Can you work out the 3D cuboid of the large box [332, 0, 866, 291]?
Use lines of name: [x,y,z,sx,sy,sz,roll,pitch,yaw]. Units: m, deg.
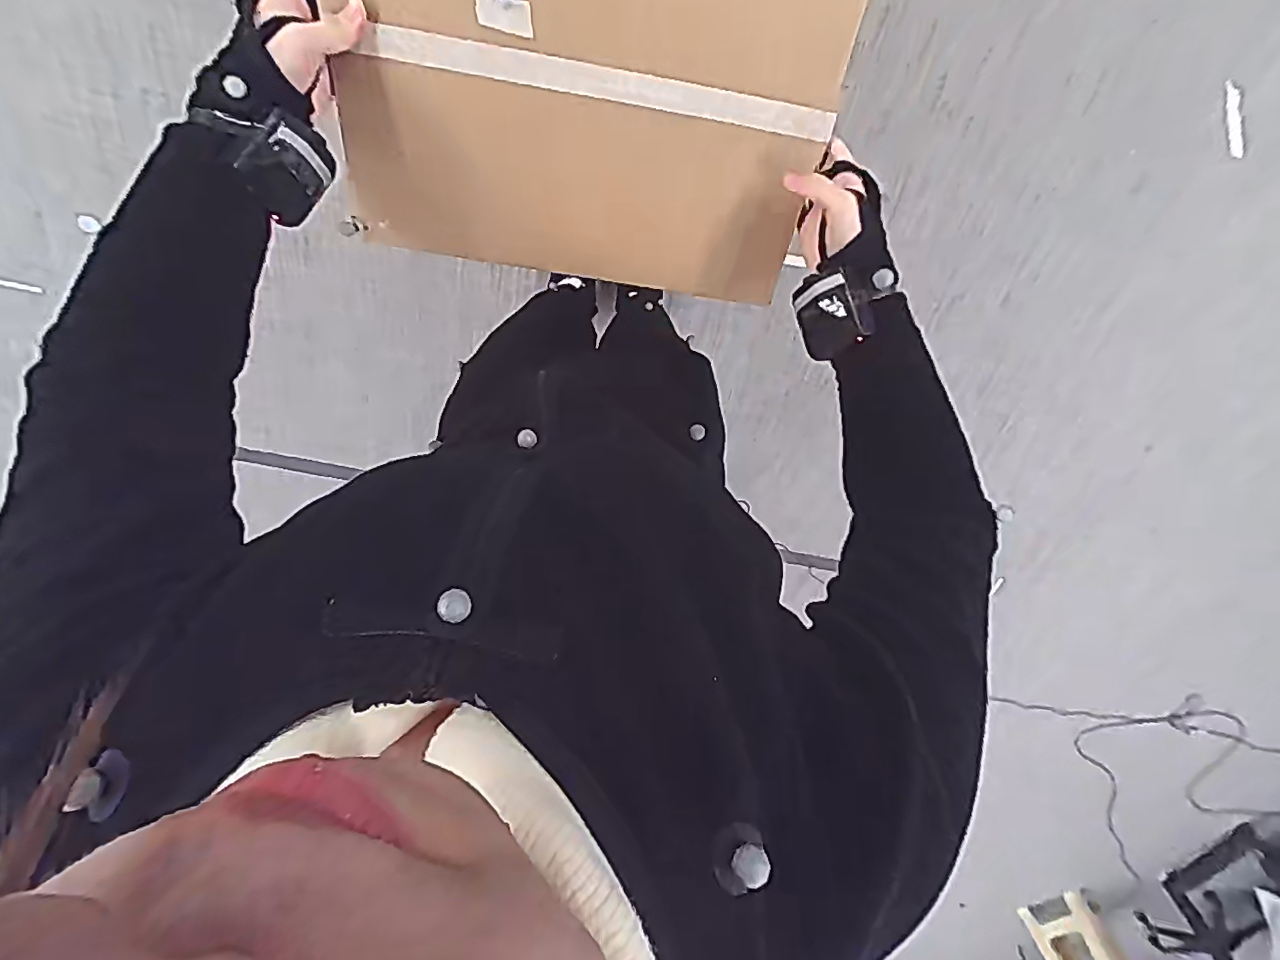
large box: [-0.034,-0.421,0.543,0.408,0.320,0.320,7,129,-5]
